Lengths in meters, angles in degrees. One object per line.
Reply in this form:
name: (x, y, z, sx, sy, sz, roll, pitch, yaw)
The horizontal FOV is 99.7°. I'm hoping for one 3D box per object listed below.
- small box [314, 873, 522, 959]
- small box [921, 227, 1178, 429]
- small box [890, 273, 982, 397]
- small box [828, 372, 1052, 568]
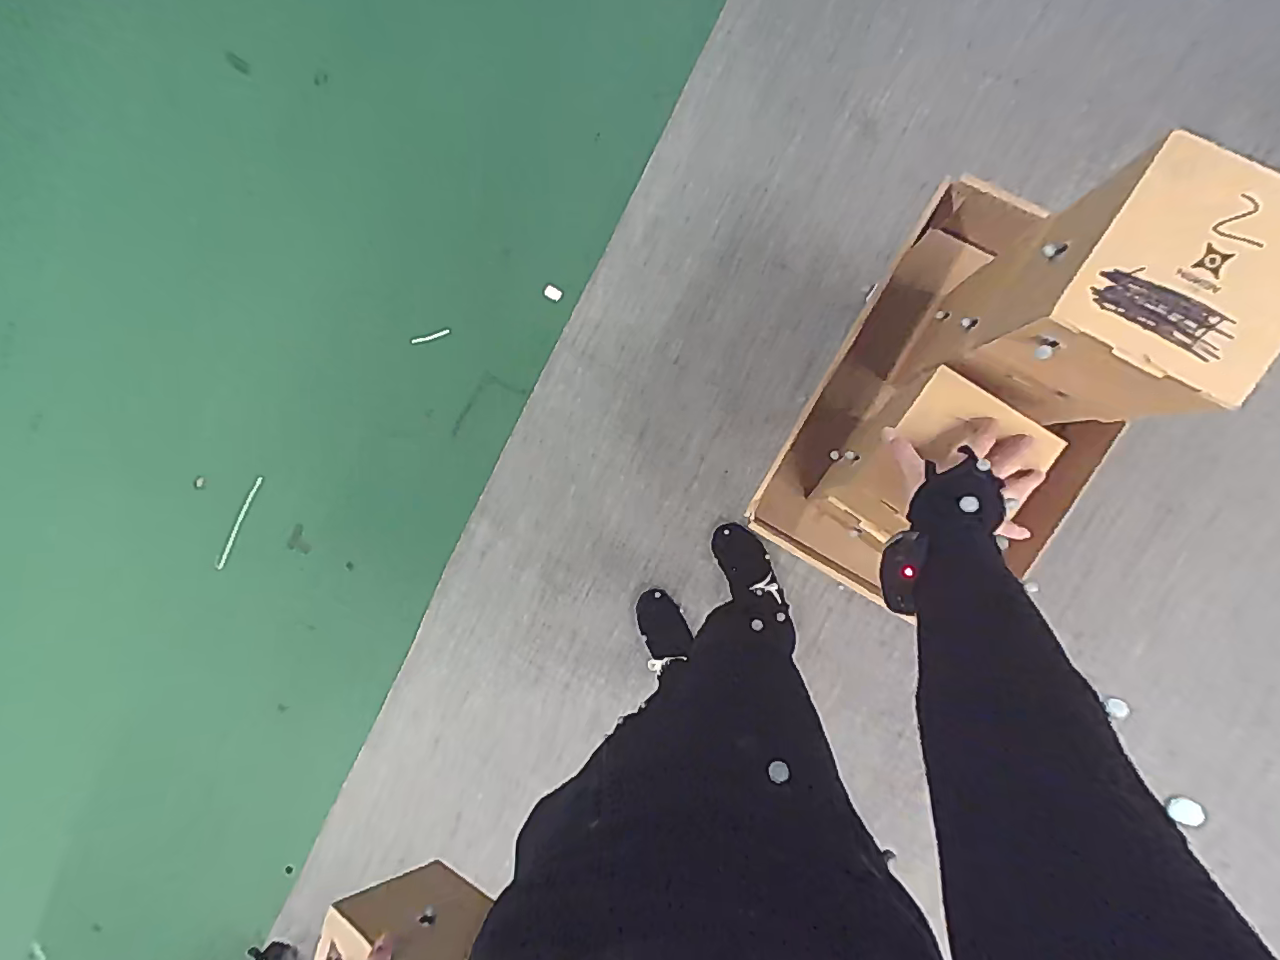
small box: (-0.277, 0.615, 0.652, 0.179, 0.176, 0.168, 7, 78, 30)
small box: (0.499, -0.180, 0.695, 0.168, 0.176, 0.179, 30, 98, 7)
small box: (0.528, -0.188, 0.854, 0.168, 0.176, 0.179, 31, 97, 8)
small box: (0.370, -0.007, 0.711, 0.168, 0.176, 0.179, 36, 89, 6)
